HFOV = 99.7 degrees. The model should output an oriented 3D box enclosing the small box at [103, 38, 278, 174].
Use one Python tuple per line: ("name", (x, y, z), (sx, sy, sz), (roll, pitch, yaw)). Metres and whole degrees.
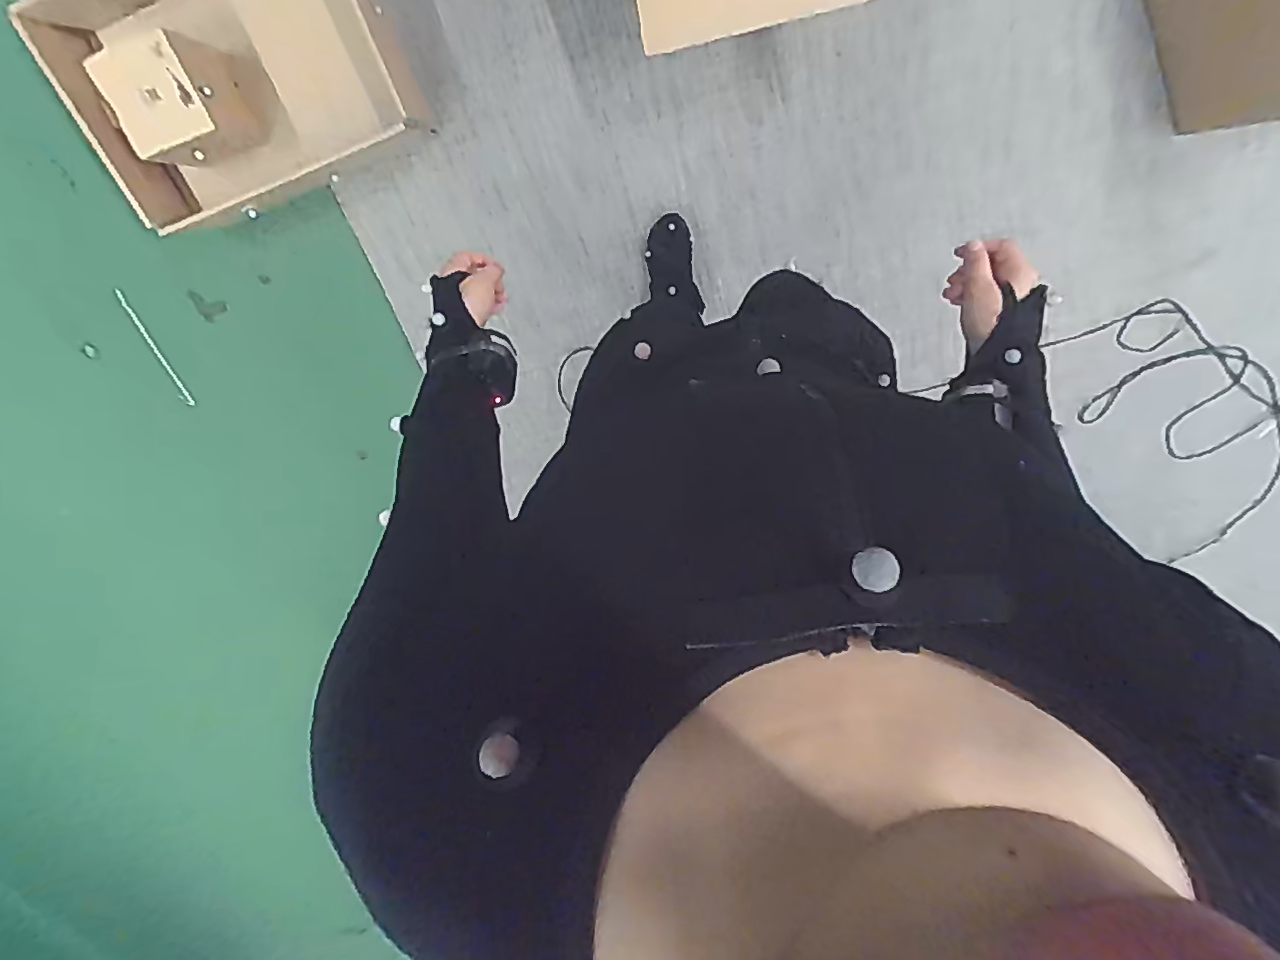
("small box", (-0.894, -0.742, 1.096), (0.179, 0.176, 0.168), (-16, 113, 8))
